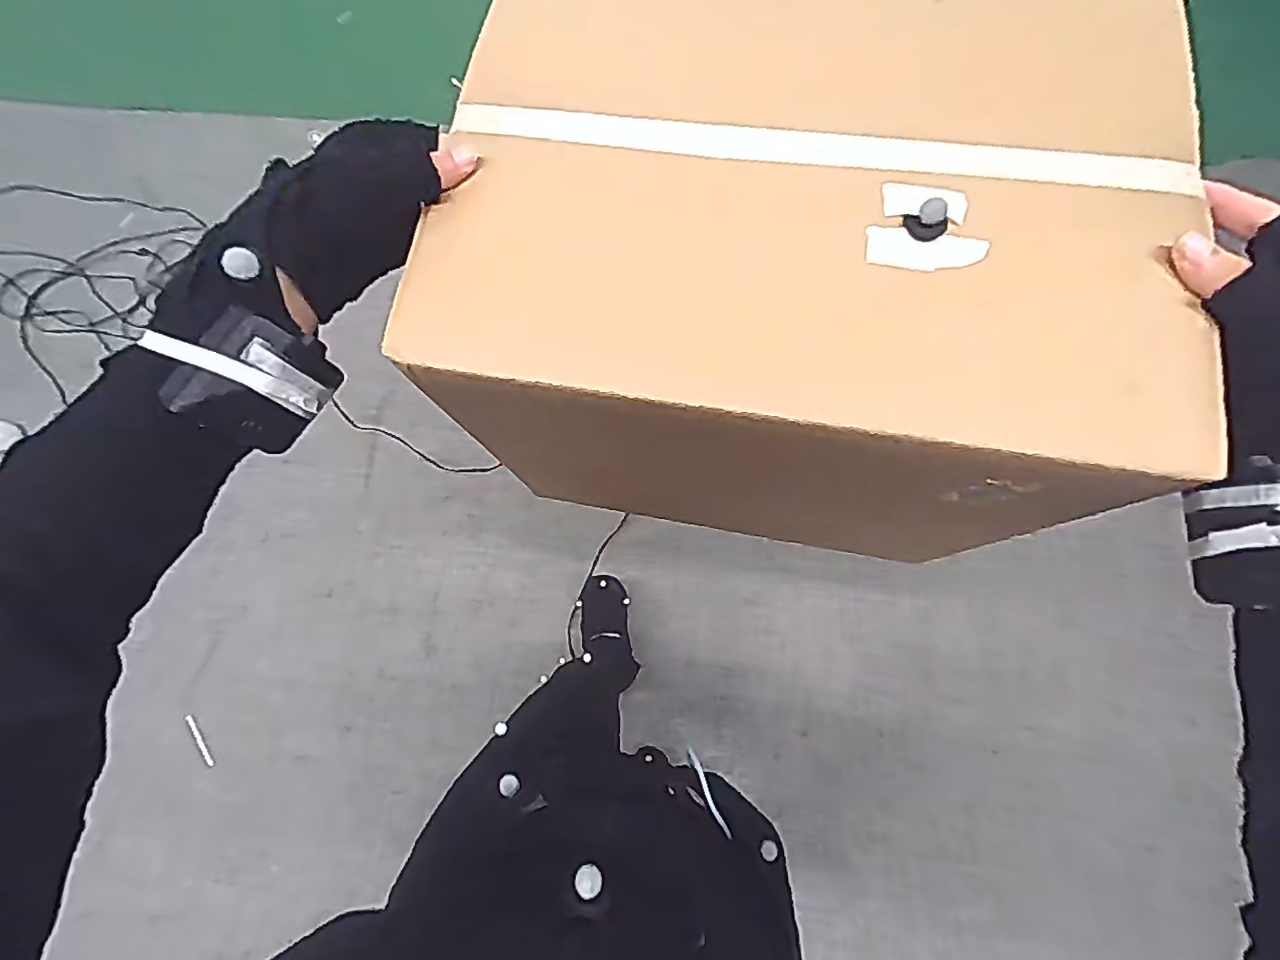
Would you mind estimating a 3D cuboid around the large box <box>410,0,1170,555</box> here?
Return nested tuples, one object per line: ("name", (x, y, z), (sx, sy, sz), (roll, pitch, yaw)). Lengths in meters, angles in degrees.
("large box", (0.096, -0.135, 0.464), (0.408, 0.320, 0.320), (9, 76, 7))
